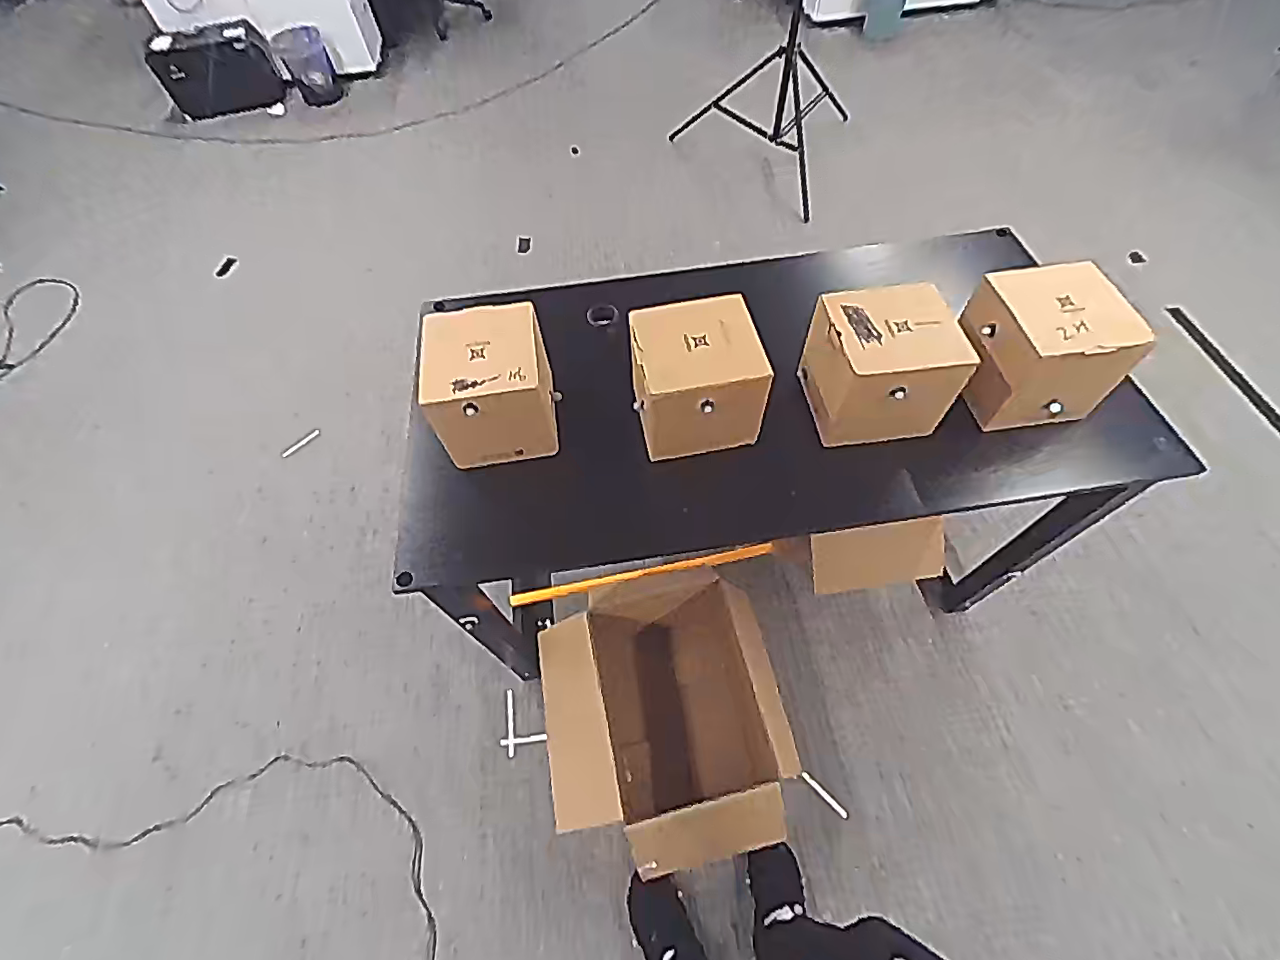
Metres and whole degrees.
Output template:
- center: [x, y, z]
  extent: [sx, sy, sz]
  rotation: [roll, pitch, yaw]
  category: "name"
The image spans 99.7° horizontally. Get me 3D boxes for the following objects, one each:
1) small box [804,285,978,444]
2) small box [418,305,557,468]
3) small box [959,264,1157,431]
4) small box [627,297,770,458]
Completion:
- center: [0.362, -0.169, 0.827]
  extent: [0.179, 0.176, 0.168]
  rotation: [-6, 58, -1]
  category: "small box"
- center: [-0.228, -0.142, 0.843]
  extent: [0.168, 0.176, 0.179]
  rotation: [-9, 58, -3]
  category: "small box"
- center: [0.606, -0.200, 0.831]
  extent: [0.168, 0.176, 0.179]
  rotation: [-7, 58, 0]
  category: "small box"
- center: [0.083, -0.151, 0.834]
  extent: [0.179, 0.176, 0.168]
  rotation: [-10, 60, -4]
  category: "small box"
